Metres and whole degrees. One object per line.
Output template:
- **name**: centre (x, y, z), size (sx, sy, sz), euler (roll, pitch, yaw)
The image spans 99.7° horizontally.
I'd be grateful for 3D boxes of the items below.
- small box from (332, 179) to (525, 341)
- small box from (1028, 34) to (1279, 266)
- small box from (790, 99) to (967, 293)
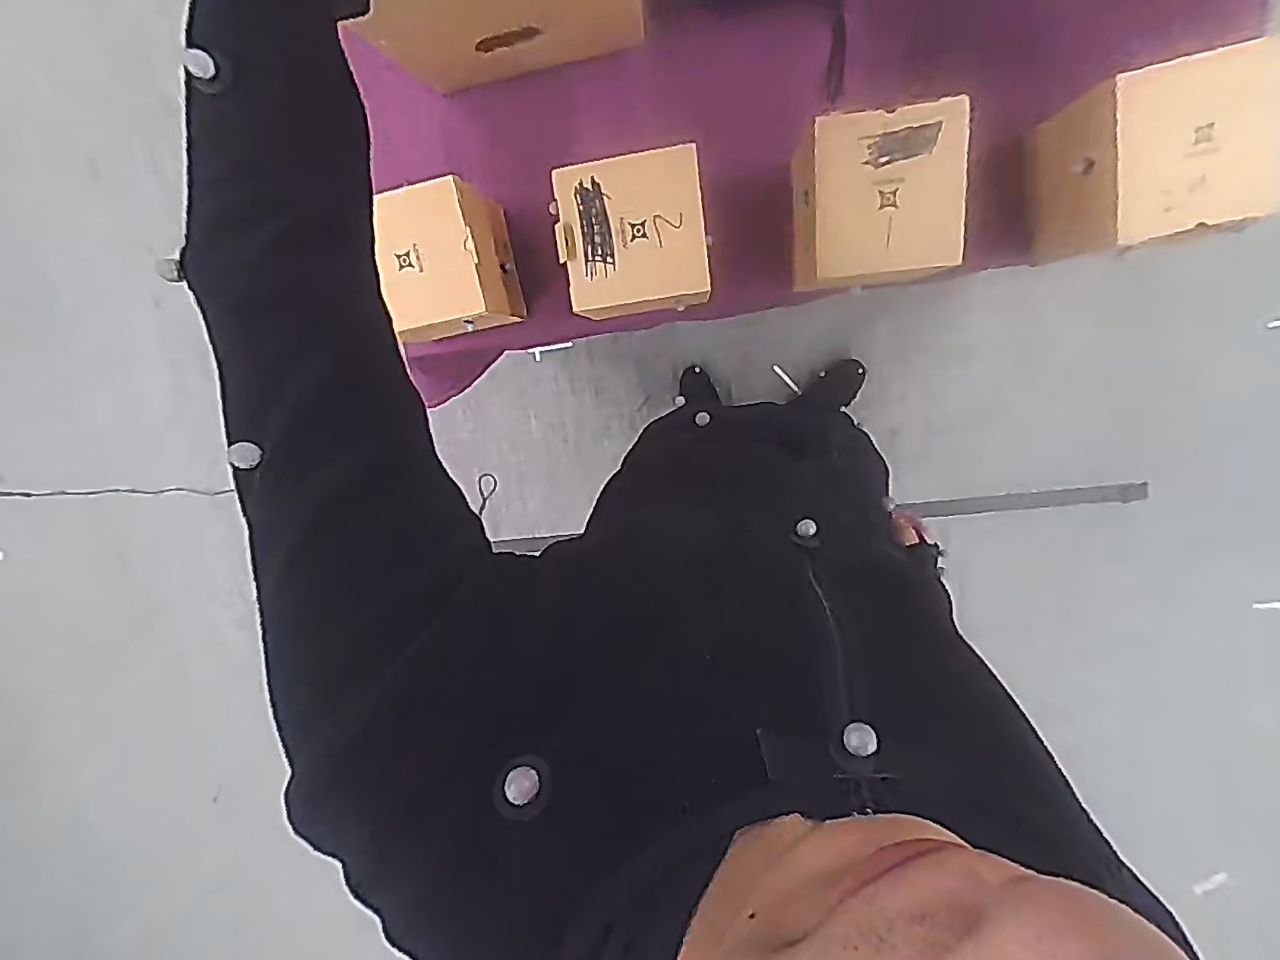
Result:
- **small box**: centre (-0.284, -0.294, 0.765), size (0.179, 0.176, 0.168), euler (-10, 102, 7)
- **small box**: centre (0.599, -0.374, 0.650), size (0.168, 0.176, 0.179), euler (-9, 103, 9)
- **small box**: centre (0.290, -0.345, 0.692), size (0.168, 0.176, 0.179), euler (-4, 104, 7)
